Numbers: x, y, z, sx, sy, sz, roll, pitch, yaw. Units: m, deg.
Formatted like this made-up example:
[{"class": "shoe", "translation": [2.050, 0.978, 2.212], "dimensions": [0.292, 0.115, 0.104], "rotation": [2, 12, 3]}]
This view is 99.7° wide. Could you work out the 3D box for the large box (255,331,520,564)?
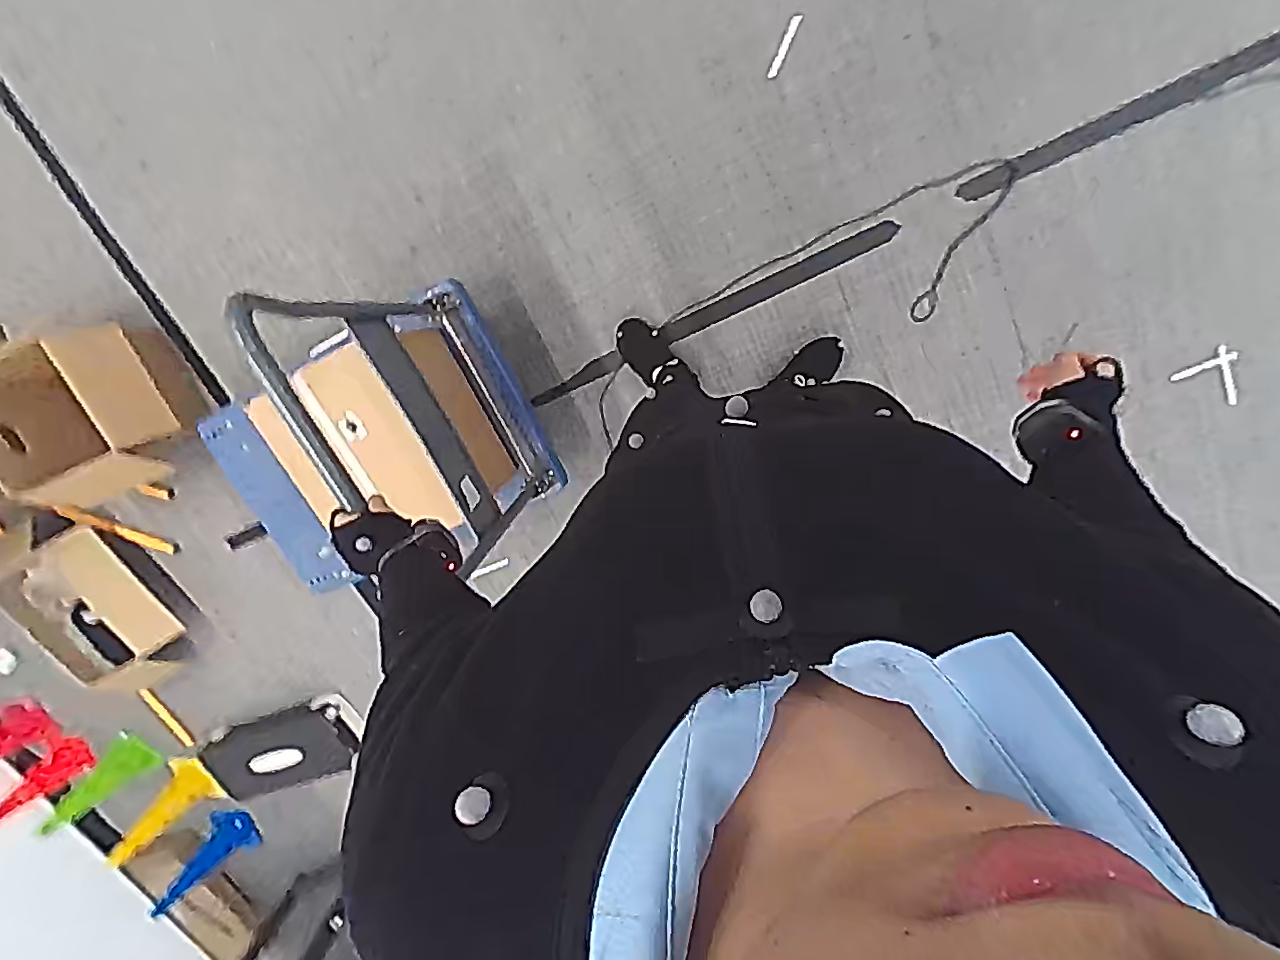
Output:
[{"class": "large box", "translation": [-0.545, -0.086, 1.248], "dimensions": [0.320, 0.320, 0.408], "rotation": [-23, 104, 14]}]
